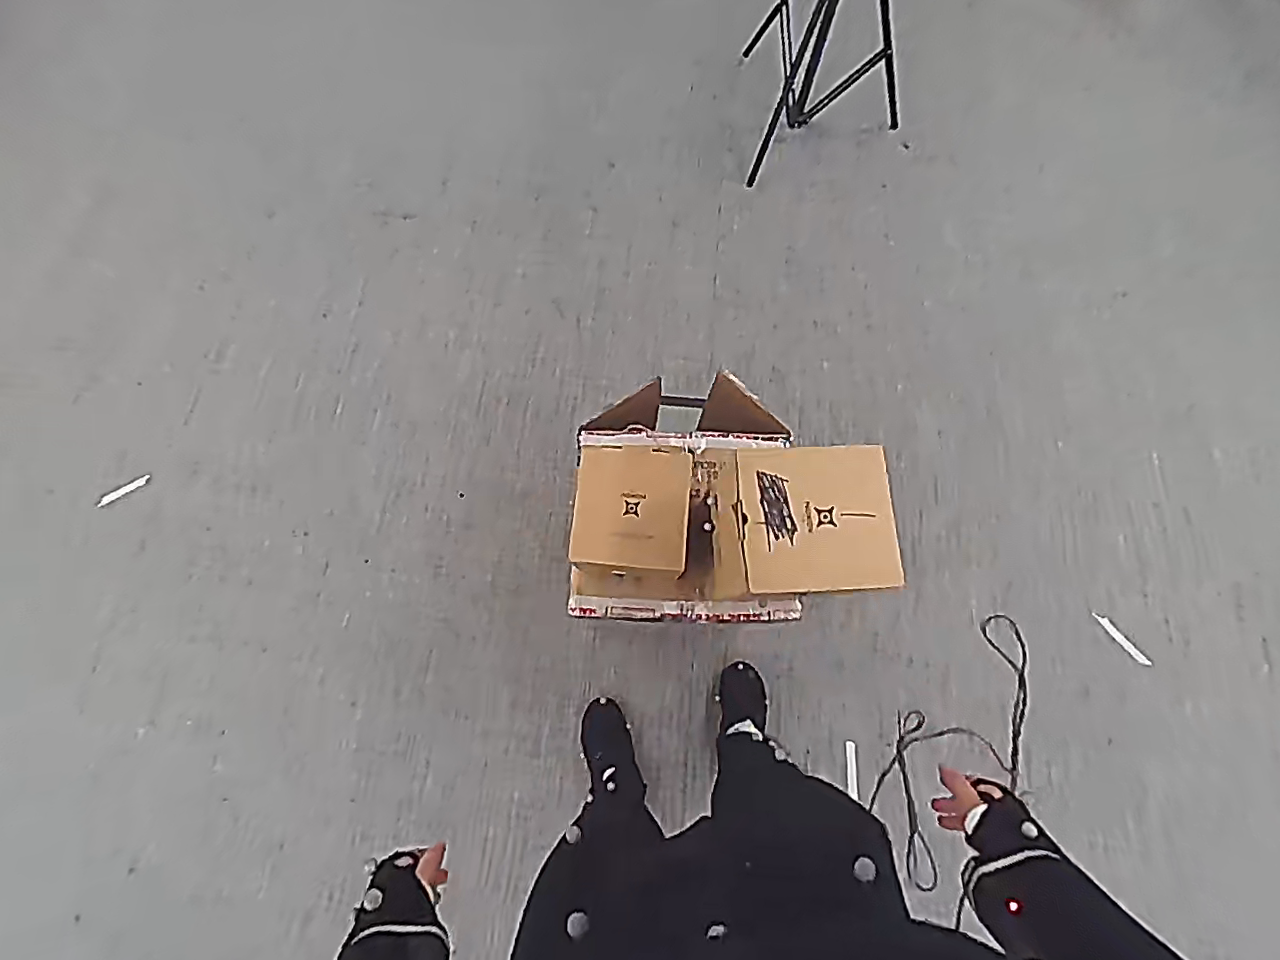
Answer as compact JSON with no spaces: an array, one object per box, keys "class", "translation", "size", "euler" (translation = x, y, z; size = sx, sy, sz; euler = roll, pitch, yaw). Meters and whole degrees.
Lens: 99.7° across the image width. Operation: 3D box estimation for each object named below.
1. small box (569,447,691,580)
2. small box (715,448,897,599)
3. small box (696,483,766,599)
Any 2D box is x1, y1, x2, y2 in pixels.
[{"class":"small box","translation":[-0.012,0.060,0.860],"size":[0.168,0.176,0.179],"euler":[4,76,2]},{"class":"small box","translation":[0.194,0.064,0.692],"size":[0.179,0.176,0.168],"euler":[-2,76,-3]},{"class":"small box","translation":[0.190,0.101,0.855],"size":[0.179,0.176,0.168],"euler":[-2,76,-2]}]
